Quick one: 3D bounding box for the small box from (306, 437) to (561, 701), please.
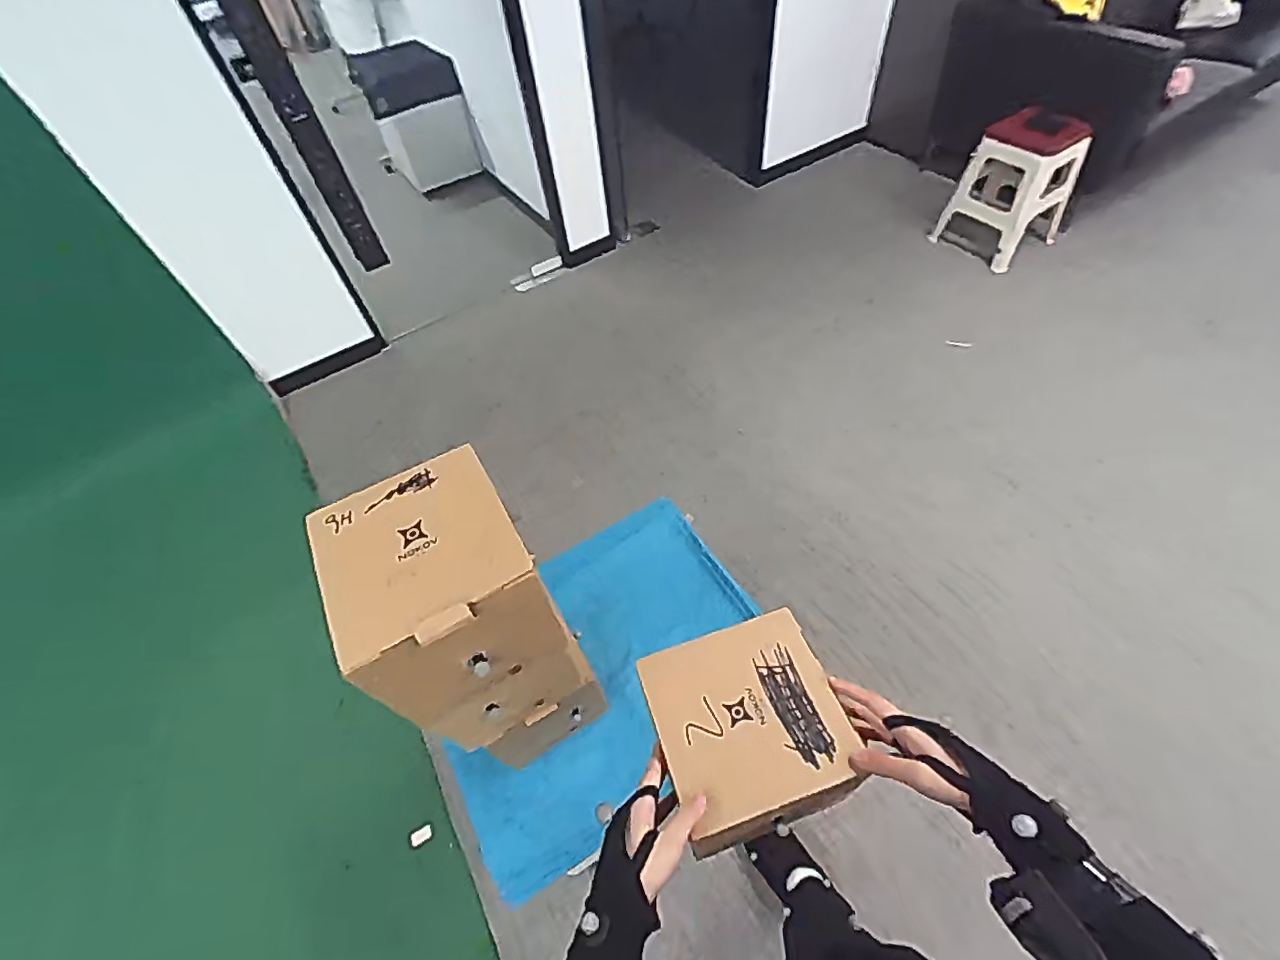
[{"bbox_3d":[-0.193,0.095,0.537,0.168,0.176,0.179,-25,55,-14],"label":"small box"}]

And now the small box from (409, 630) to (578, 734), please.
[{"bbox_3d":[-0.191,0.190,0.671,0.168,0.176,0.179,-25,54,-14],"label":"small box"}]

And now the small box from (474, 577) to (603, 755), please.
[{"bbox_3d":[-0.168,0.282,0.803,0.168,0.176,0.179,-26,54,-15],"label":"small box"}]
